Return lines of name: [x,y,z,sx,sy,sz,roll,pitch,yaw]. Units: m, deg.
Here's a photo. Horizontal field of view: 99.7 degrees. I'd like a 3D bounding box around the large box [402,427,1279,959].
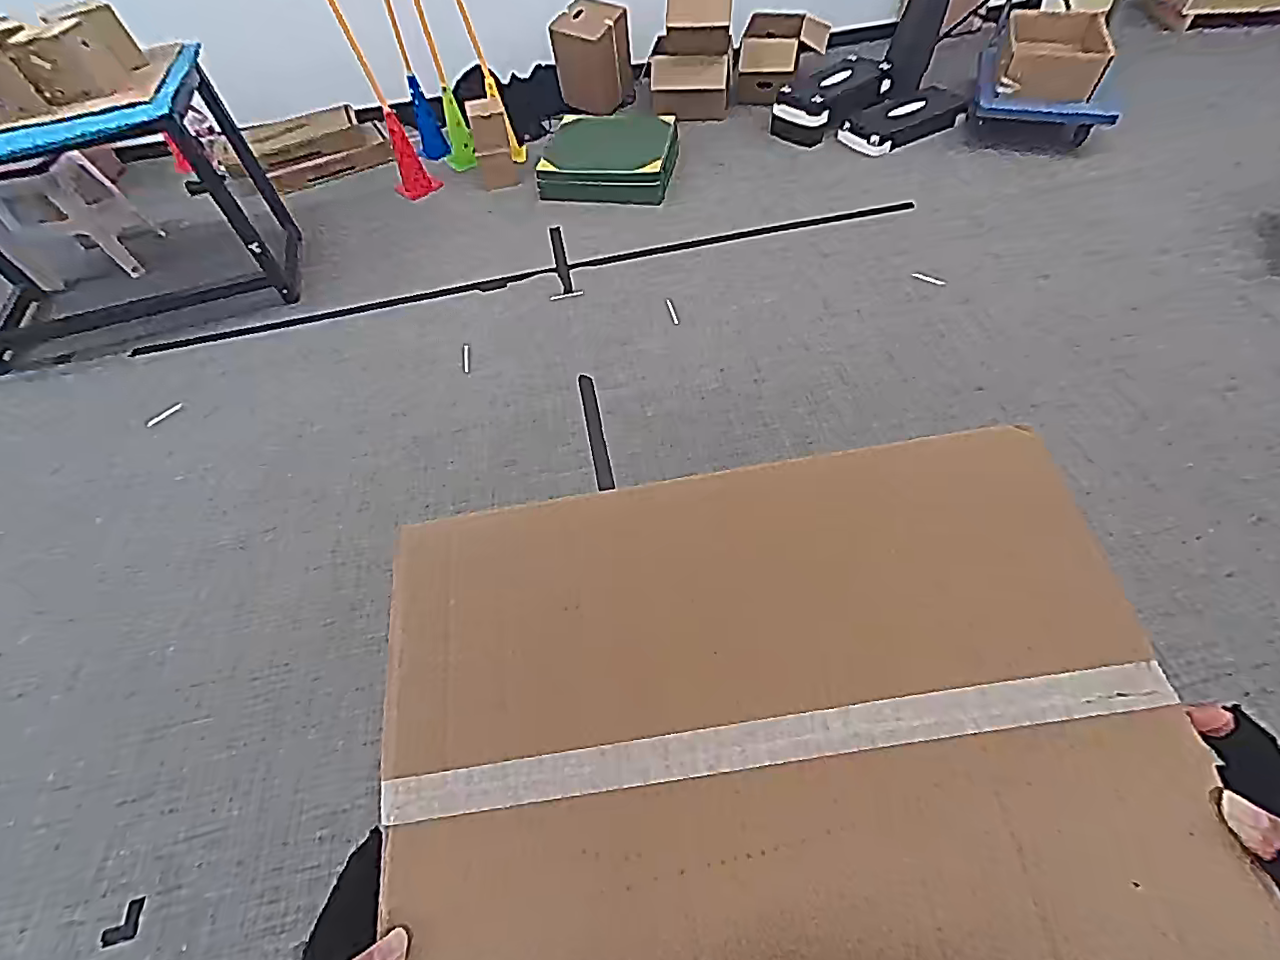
large box: [0.080,0.199,0.427,0.408,0.320,0.320,-10,65,2]
